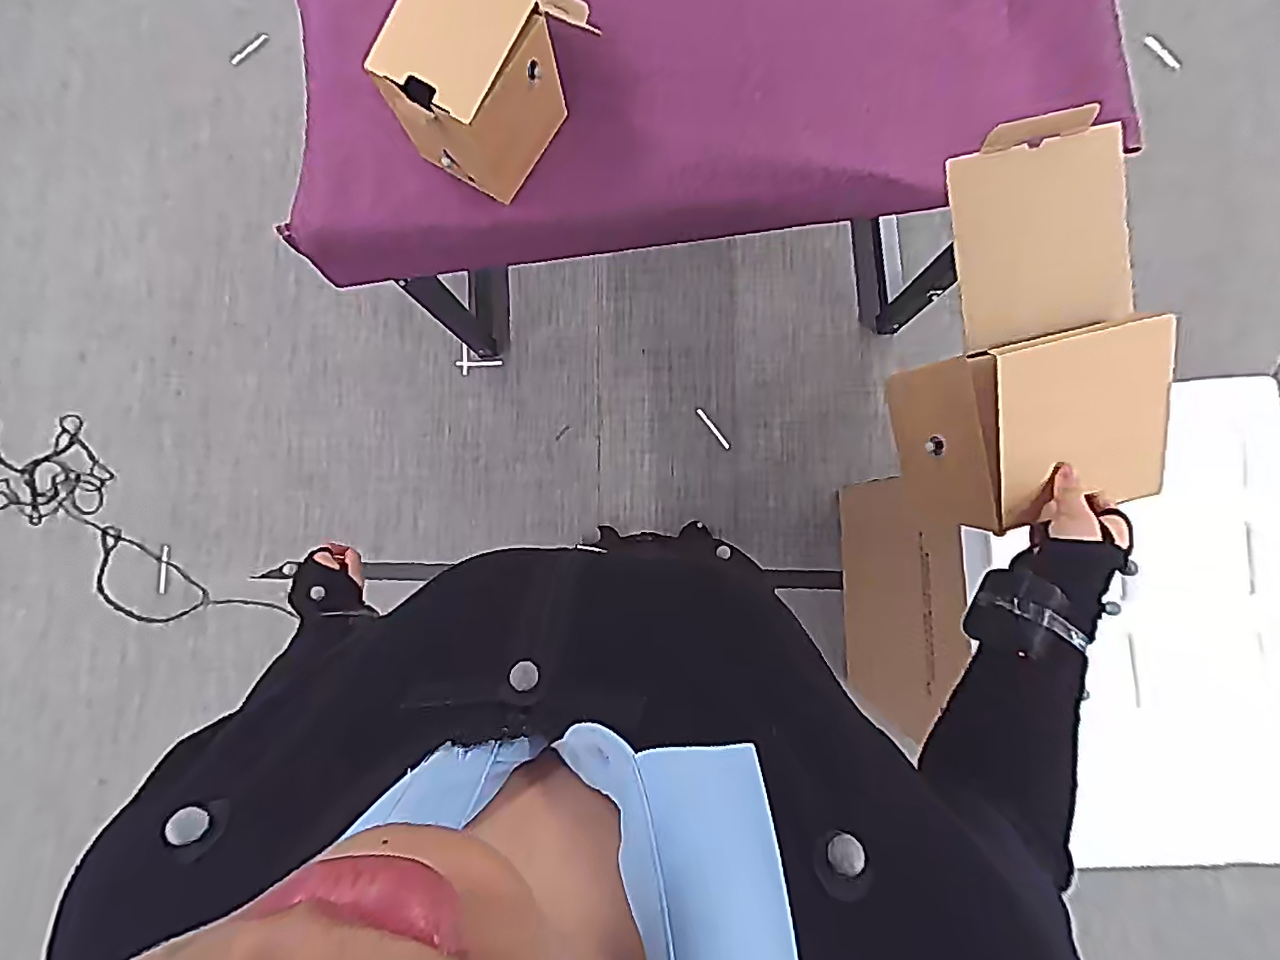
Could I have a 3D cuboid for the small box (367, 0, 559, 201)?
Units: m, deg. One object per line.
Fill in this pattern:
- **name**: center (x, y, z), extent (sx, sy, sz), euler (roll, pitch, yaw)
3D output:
- **small box**: center (-0.230, -0.543, 0.758), extent (0.168, 0.176, 0.179), euler (32, 87, 6)
